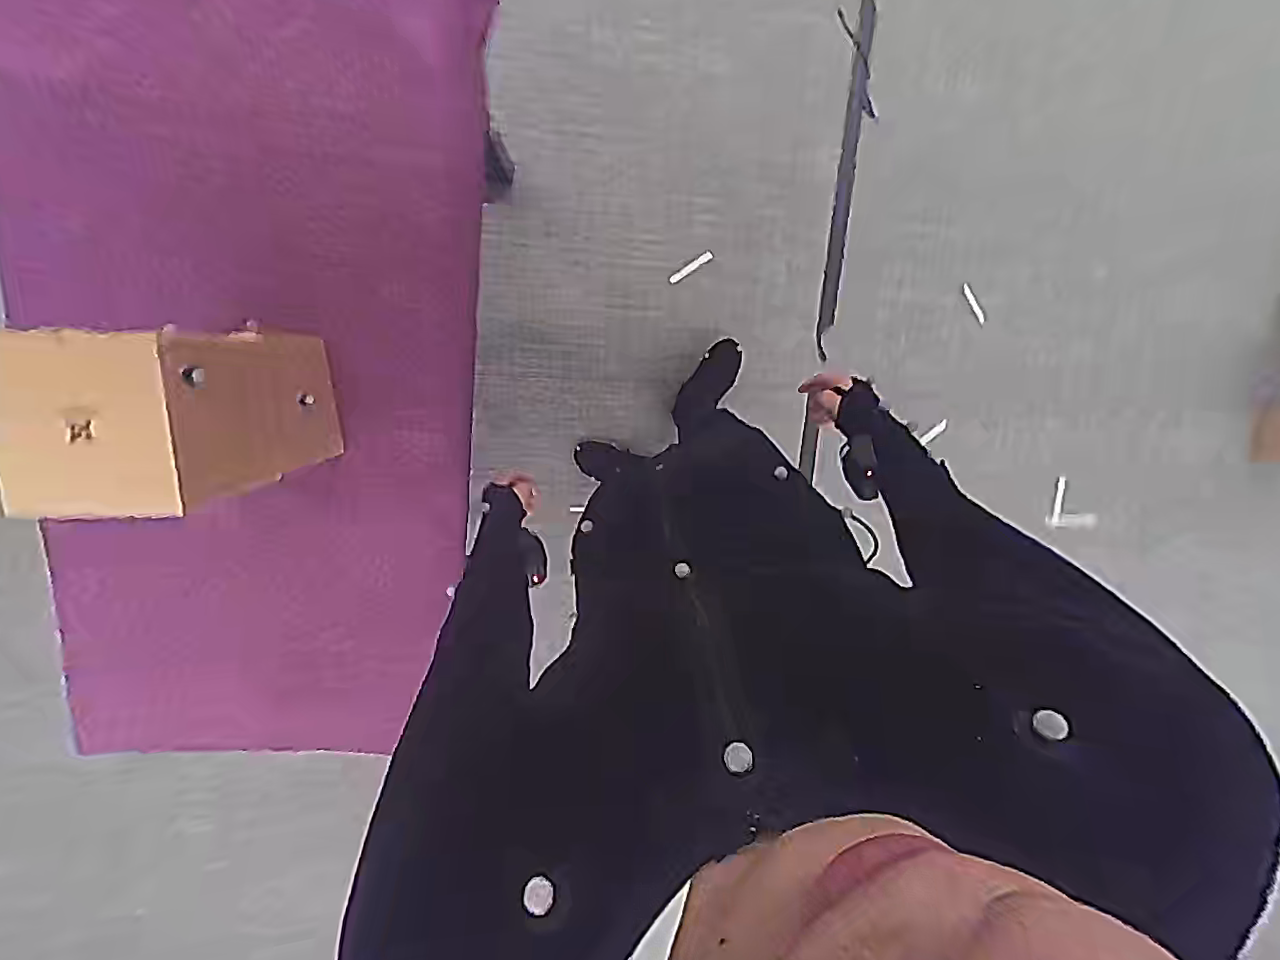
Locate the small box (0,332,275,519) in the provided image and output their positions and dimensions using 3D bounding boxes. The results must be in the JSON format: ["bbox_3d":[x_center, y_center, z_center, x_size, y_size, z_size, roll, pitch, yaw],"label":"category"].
[{"bbox_3d":[-0.530,-0.065,0.585,0.168,0.176,0.179,0,101,-4],"label":"small box"}]
